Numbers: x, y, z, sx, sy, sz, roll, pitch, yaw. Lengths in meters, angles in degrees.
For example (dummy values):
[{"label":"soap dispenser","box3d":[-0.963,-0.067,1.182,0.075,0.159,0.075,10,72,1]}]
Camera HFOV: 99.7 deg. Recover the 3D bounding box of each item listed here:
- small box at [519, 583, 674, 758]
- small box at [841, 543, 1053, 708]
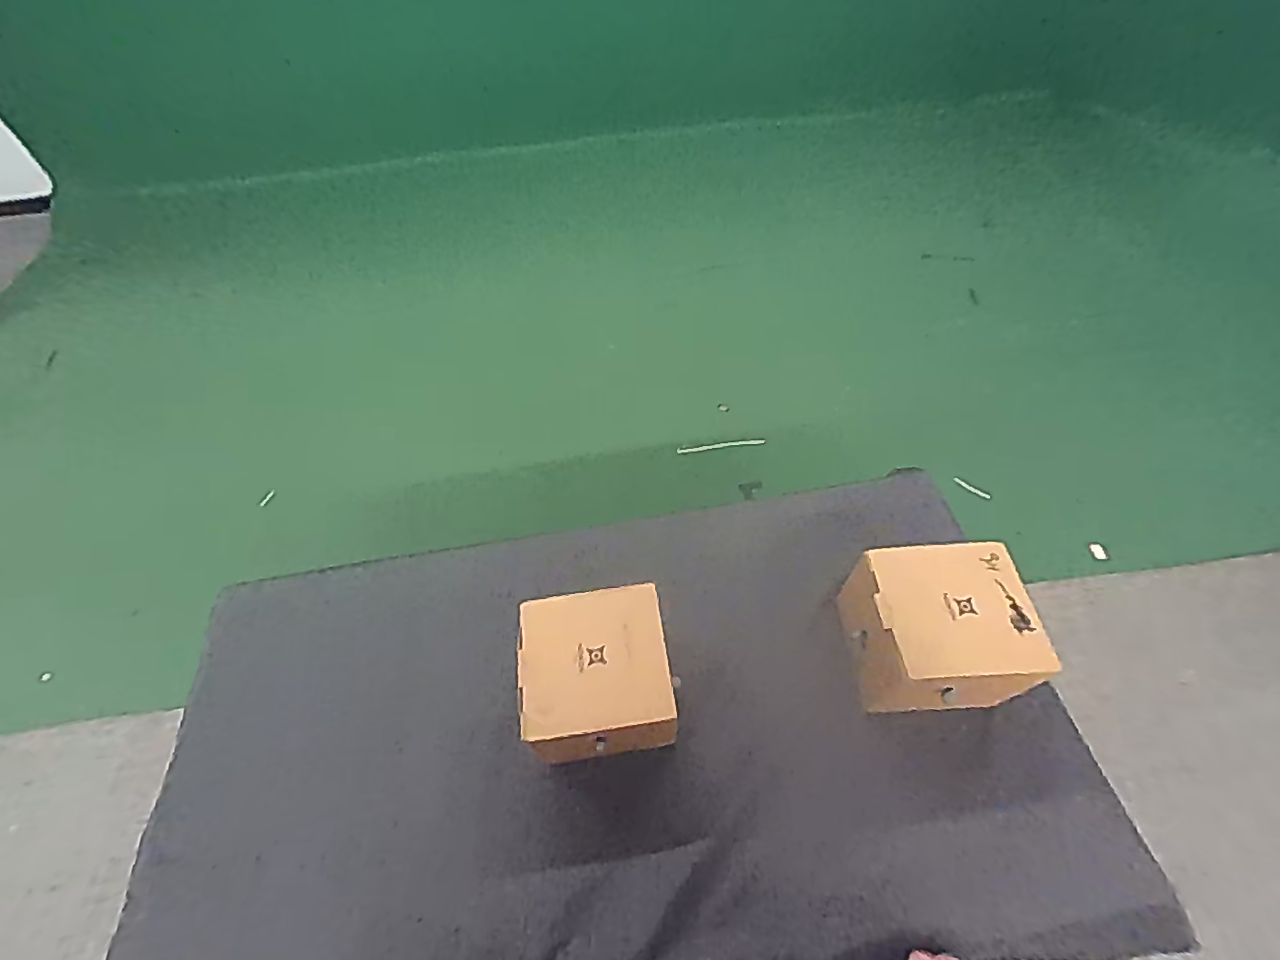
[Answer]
[{"label":"small box","box3d":[-0.053,0.253,0.708,0.179,0.176,0.168,-8,56,-3]},{"label":"small box","box3d":[0.379,0.198,0.715,0.179,0.176,0.168,-3,56,2]}]
